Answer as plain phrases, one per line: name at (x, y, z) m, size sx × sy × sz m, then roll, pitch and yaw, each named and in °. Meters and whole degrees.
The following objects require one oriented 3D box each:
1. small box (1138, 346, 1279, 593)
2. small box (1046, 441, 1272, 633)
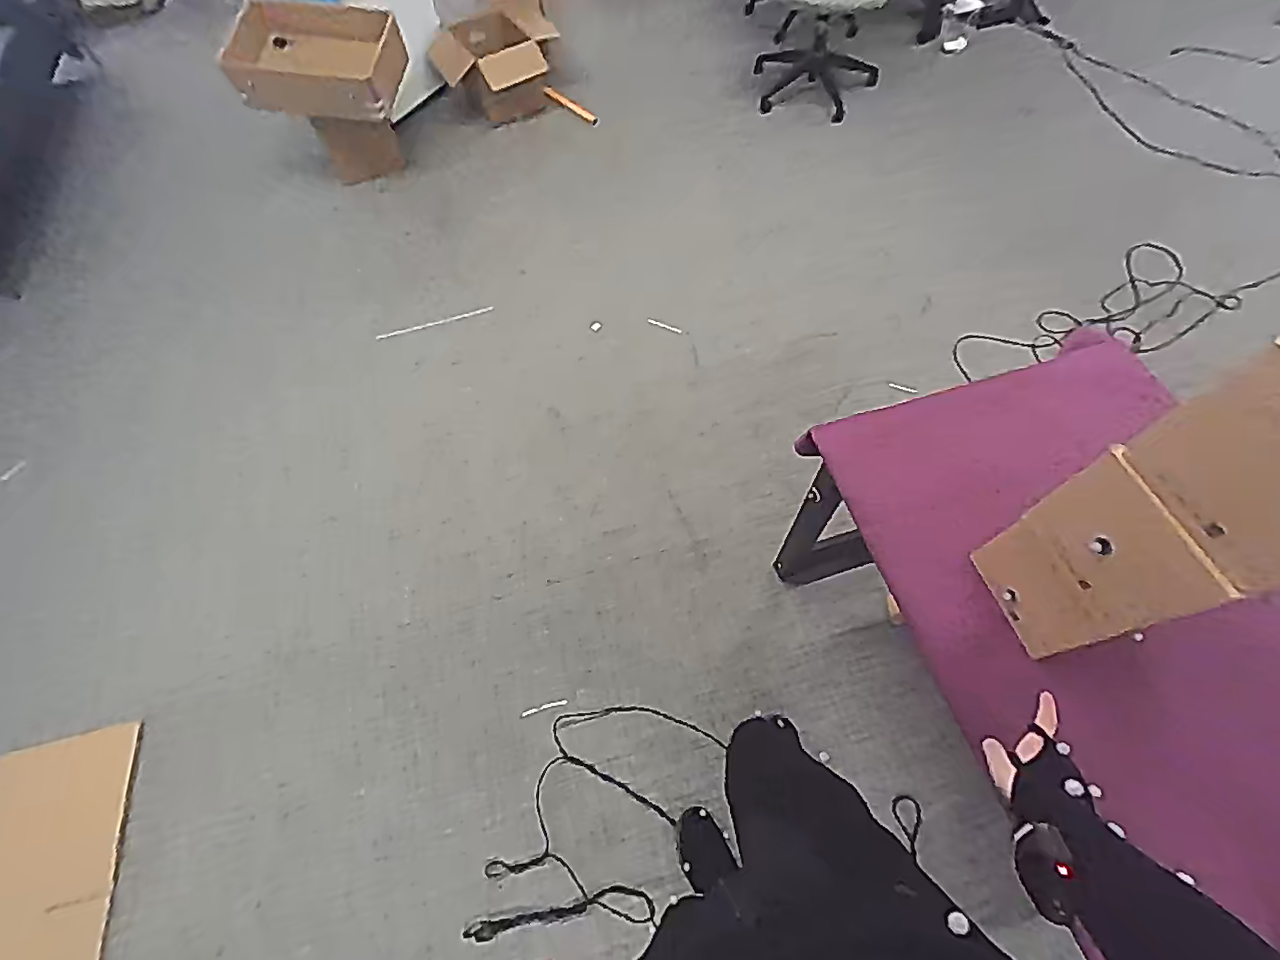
small box at (0.593, -0.025, 0.447) m, size 0.179 × 0.176 × 0.168 m, roll -16°, pitch 62°, yaw -4°
small box at (0.597, 0.054, 0.591) m, size 0.179 × 0.176 × 0.168 m, roll -15°, pitch 62°, yaw -3°
